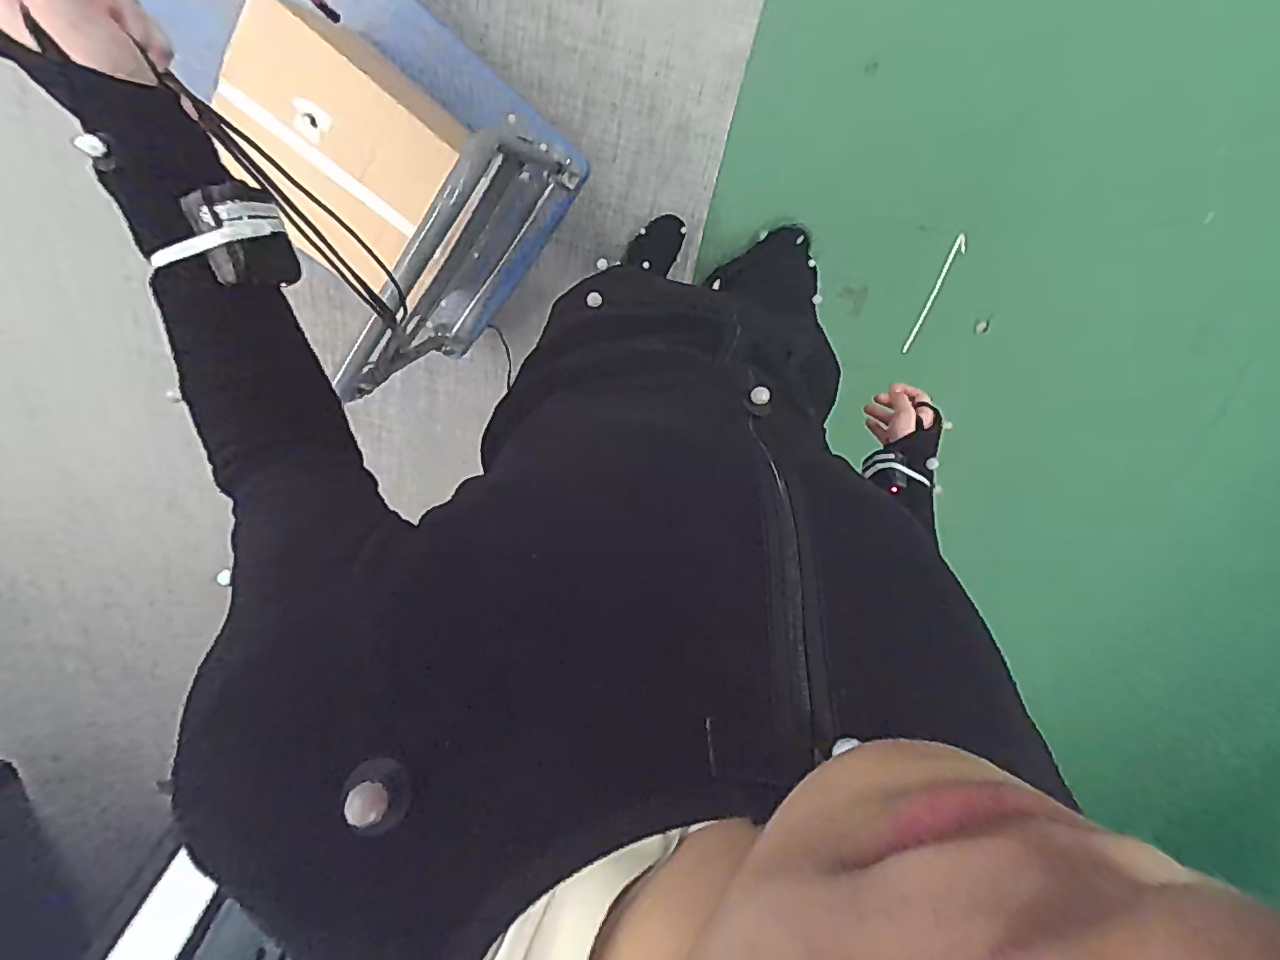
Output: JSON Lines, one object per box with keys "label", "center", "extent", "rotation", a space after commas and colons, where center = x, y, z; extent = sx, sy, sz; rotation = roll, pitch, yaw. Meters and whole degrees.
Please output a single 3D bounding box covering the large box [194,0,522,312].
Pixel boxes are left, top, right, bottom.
{"label": "large box", "center": [-0.499, -0.597, 1.036], "extent": [0.408, 0.320, 0.320], "rotation": [36, 114, -17]}
